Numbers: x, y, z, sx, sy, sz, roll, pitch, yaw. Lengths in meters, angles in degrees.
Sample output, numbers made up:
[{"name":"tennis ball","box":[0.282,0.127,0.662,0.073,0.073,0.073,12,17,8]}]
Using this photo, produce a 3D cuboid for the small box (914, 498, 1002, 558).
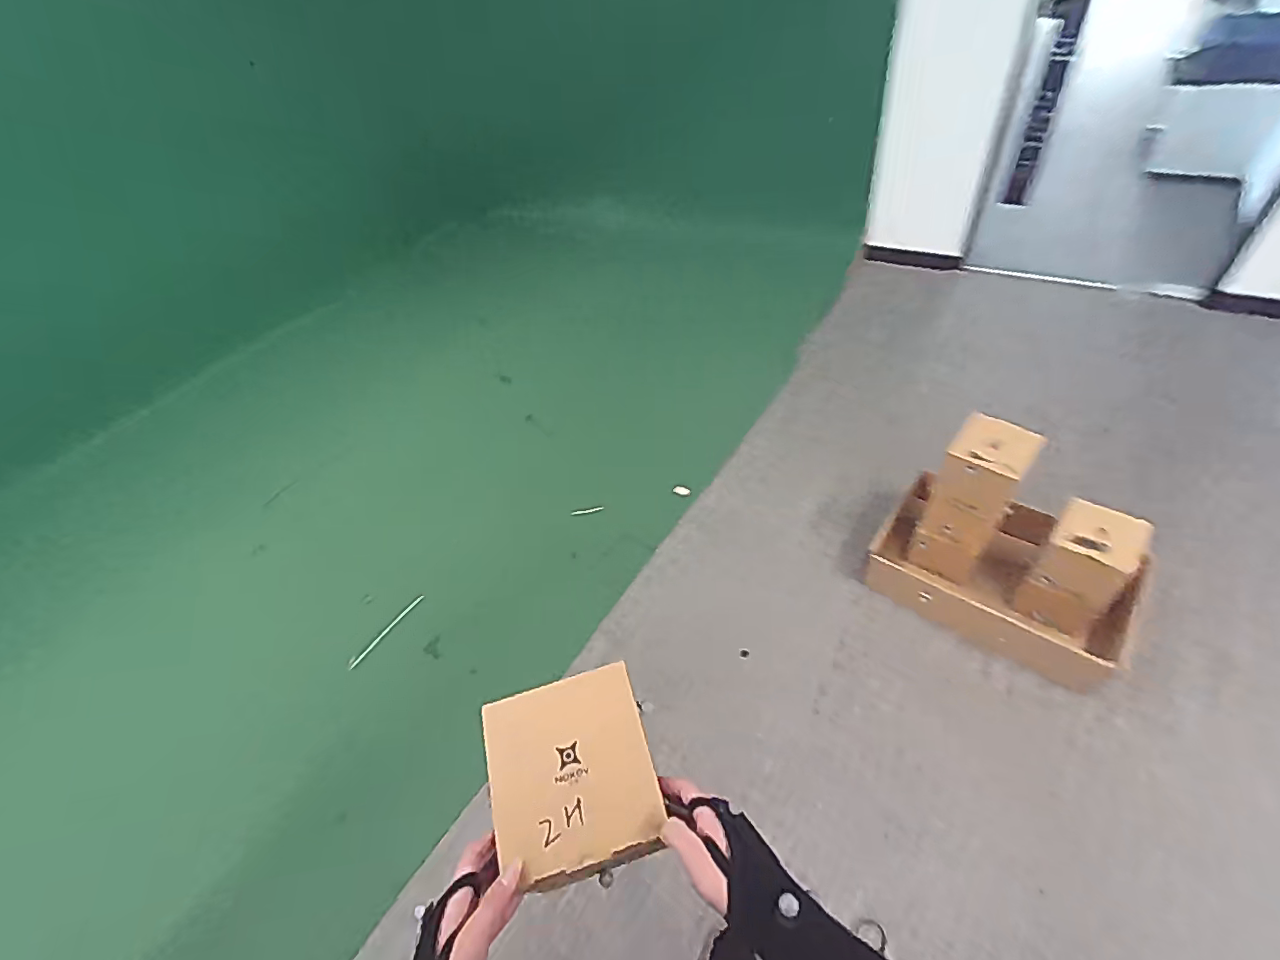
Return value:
[{"name":"small box","box":[0.893,0.081,1.508,0.168,0.176,0.179,28,58,30]}]

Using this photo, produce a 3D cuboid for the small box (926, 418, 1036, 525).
[{"name":"small box","box":[0.862,-0.021,1.383,0.168,0.176,0.179,30,59,31]}]

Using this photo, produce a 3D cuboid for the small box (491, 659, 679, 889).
[{"name":"small box","box":[-0.059,0.332,0.608,0.168,0.176,0.179,-15,53,-6]}]

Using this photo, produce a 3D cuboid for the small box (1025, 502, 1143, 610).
[{"name":"small box","box":[1.106,0.194,1.360,0.168,0.176,0.179,28,58,33]}]
